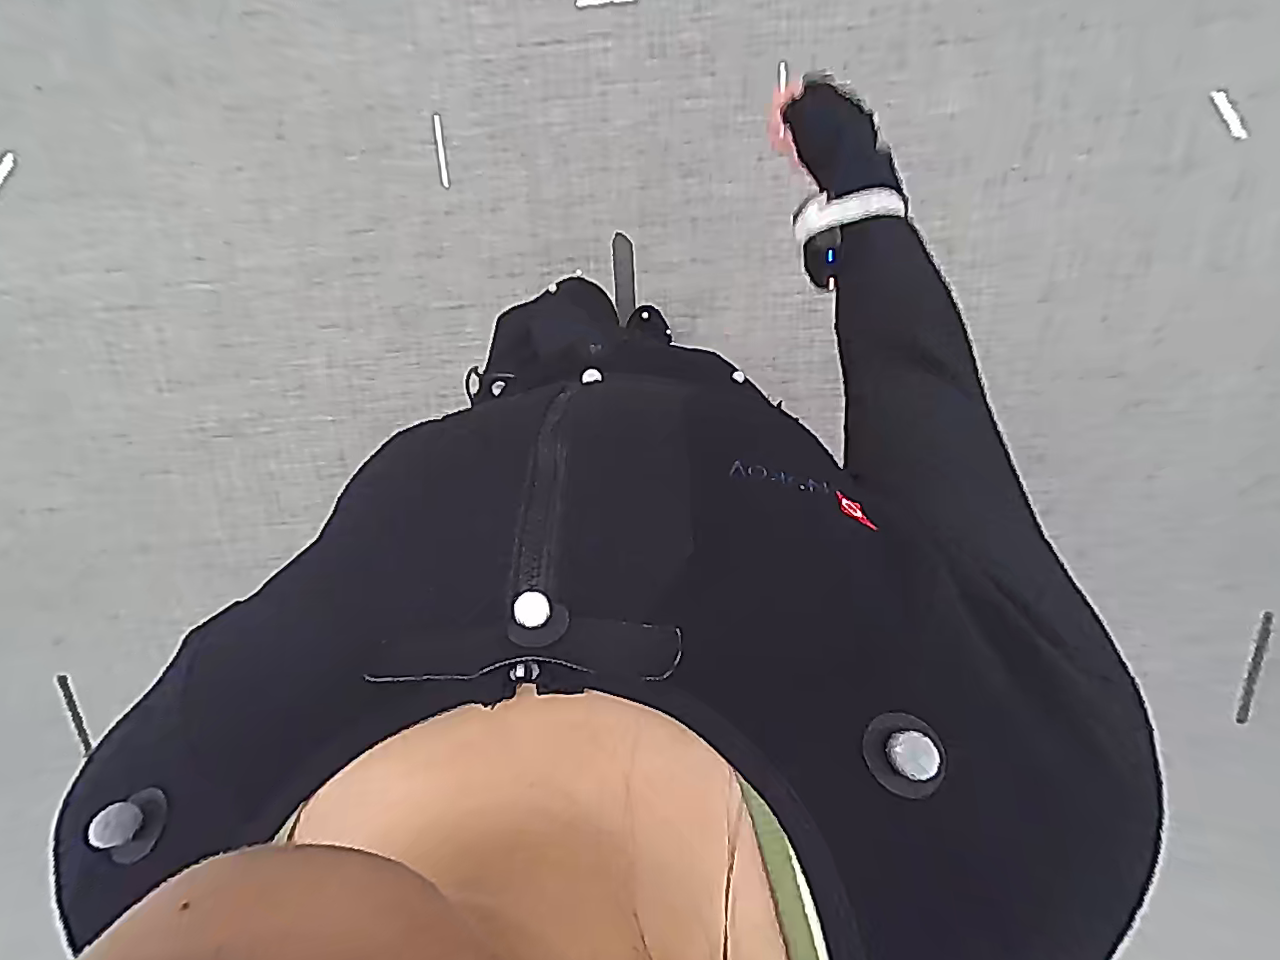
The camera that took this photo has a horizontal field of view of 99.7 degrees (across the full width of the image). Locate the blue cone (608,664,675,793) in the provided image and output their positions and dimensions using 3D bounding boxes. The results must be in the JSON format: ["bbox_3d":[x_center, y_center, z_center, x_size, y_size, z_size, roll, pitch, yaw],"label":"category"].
[{"bbox_3d":[0.007,0.700,1.507,0.192,0.380,0.193,-8,108,3],"label":"blue cone"}]
